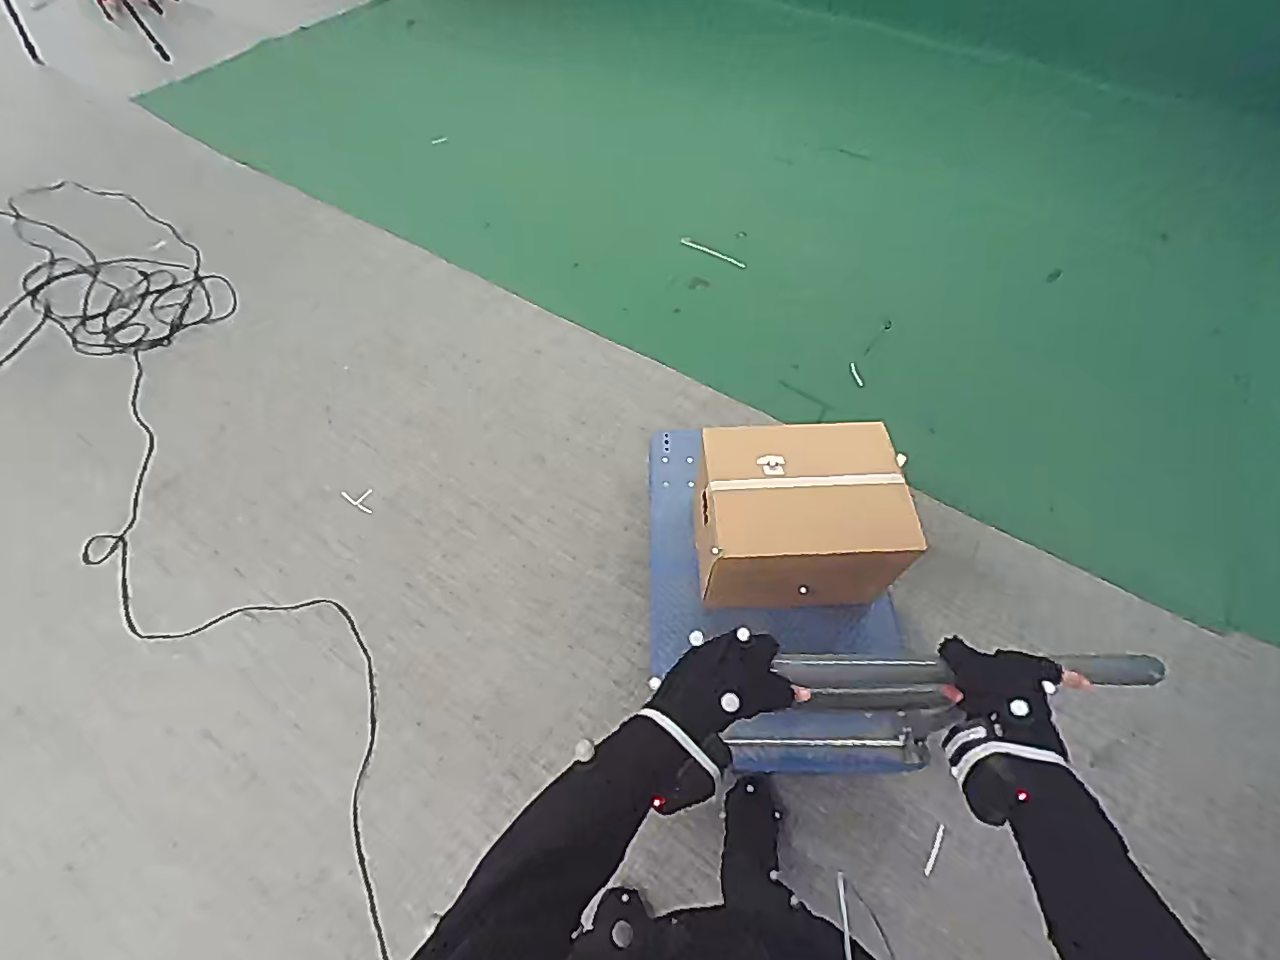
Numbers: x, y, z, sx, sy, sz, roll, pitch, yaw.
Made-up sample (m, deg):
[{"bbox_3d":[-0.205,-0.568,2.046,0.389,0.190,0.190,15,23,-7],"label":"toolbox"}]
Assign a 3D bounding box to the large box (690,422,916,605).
[{"bbox_3d":[0.337,0.088,1.249,0.408,0.320,0.320,-3,58,-1],"label":"large box"}]
